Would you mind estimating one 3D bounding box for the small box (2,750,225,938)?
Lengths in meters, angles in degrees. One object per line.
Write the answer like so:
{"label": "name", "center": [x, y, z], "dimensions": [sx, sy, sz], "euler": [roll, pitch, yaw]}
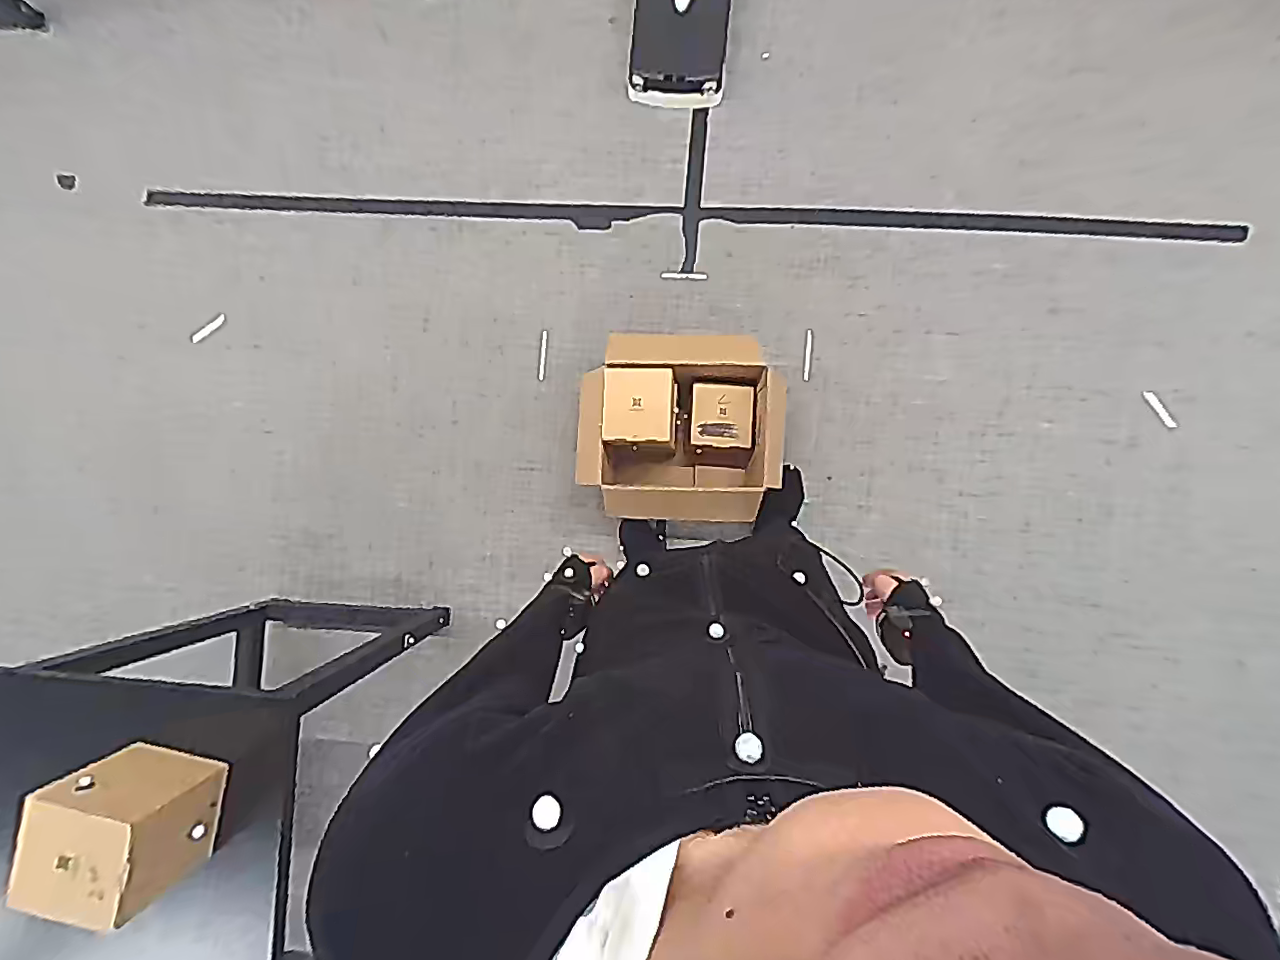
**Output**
{"label": "small box", "center": [-0.817, 0.557, 0.855], "dimensions": [0.179, 0.176, 0.168], "euler": [11, 91, 4]}
